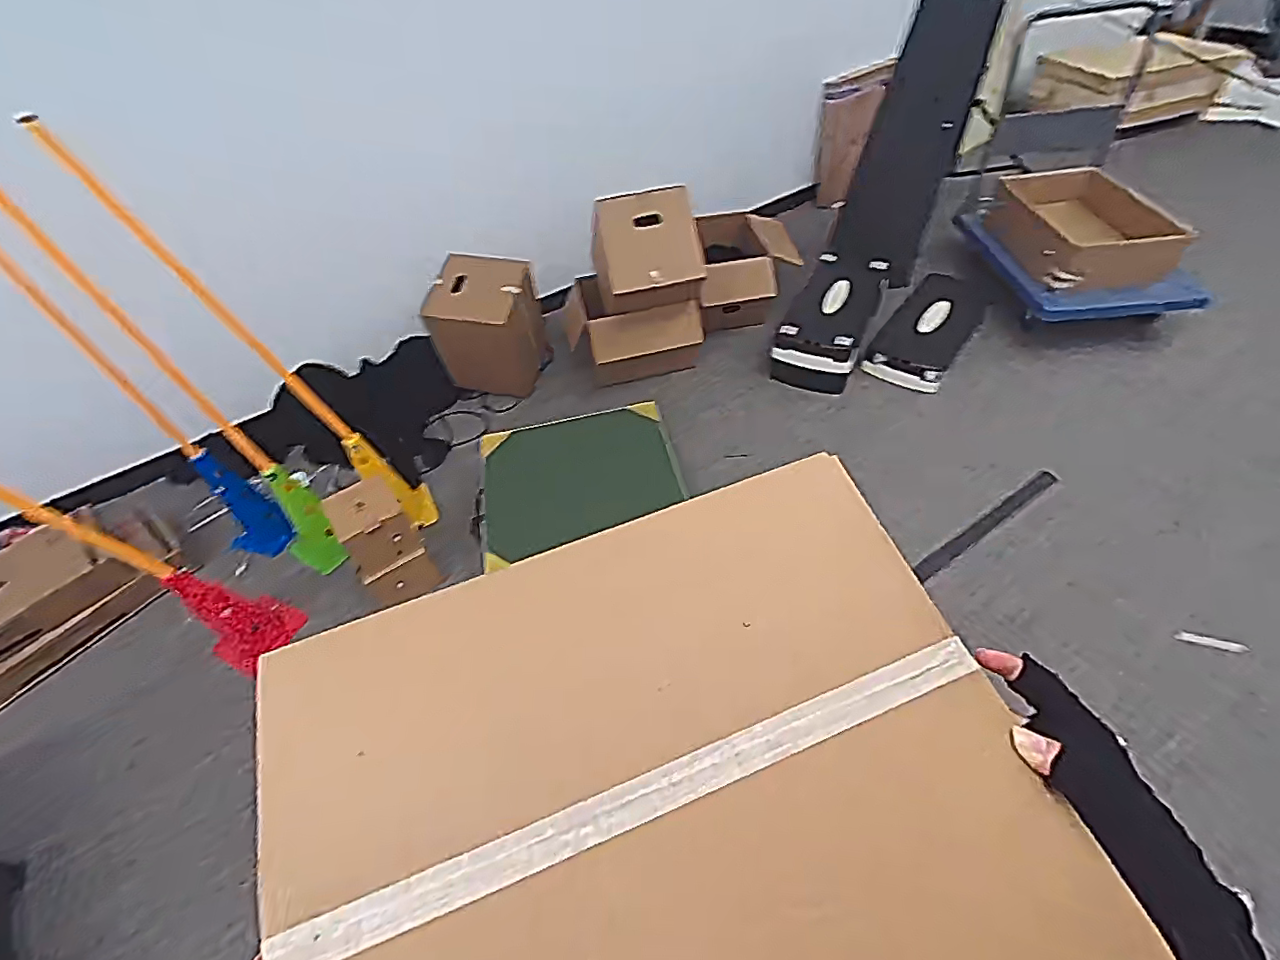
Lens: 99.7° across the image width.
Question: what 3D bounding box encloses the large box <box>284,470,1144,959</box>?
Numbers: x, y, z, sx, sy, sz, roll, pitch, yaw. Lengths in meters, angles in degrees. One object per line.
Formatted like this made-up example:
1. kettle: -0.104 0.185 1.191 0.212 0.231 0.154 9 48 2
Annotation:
1. large box: 0.018 0.251 0.432 0.408 0.320 0.320 -19 61 -8
